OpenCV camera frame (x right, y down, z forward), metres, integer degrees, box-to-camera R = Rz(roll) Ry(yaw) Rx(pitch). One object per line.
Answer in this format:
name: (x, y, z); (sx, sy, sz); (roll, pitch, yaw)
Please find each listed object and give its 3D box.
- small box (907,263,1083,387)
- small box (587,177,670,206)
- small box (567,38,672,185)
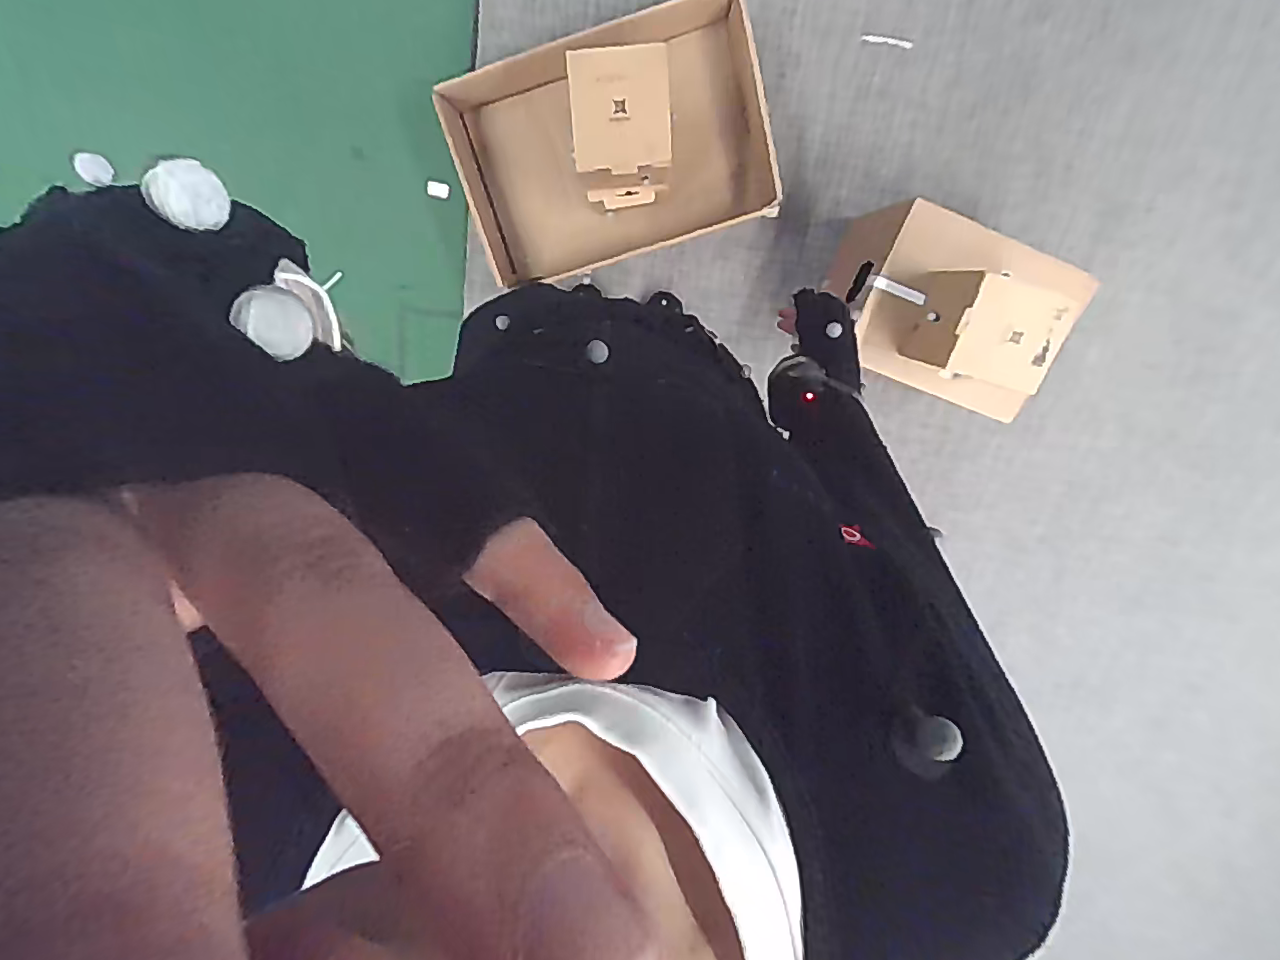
small box: (0.622, -0.282, 0.977); (0.179, 0.176, 0.168); (14, 110, -4)
small box: (-0.027, -0.679, 1.119); (0.168, 0.176, 0.179); (-7, 108, 4)
small box: (-0.028, -0.639, 0.962); (0.168, 0.176, 0.179); (-4, 107, 2)
